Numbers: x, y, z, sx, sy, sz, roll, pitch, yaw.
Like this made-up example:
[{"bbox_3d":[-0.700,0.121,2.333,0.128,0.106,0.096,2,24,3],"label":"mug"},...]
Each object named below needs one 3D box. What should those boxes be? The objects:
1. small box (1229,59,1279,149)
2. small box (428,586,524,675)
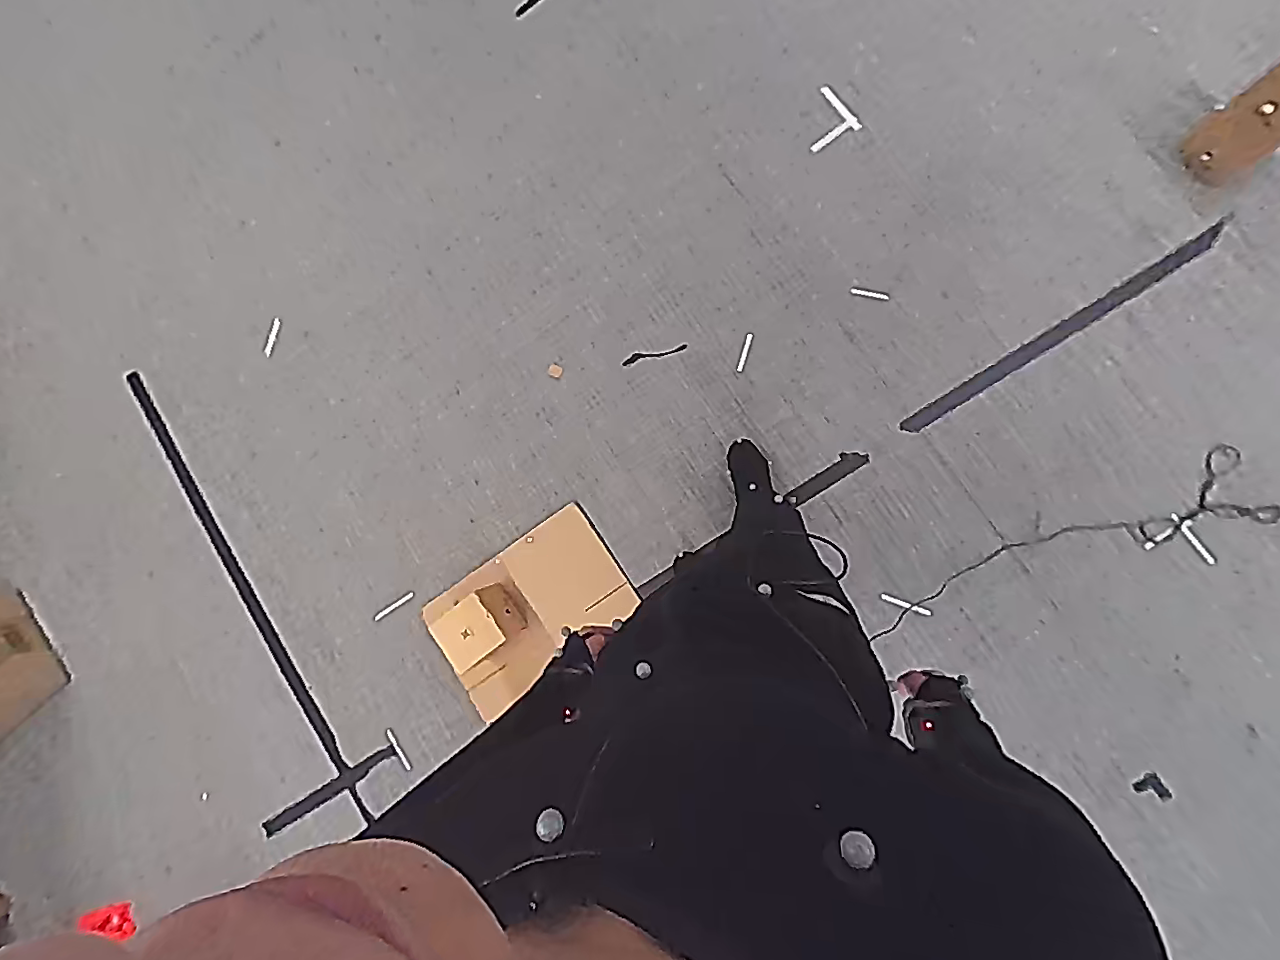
[{"bbox_3d":[1.562,-0.926,1.252,0.179,0.176,0.168,-32,82,5],"label":"small box"},{"bbox_3d":[-0.472,0.434,1.582,0.179,0.176,0.168,-39,83,3],"label":"small box"}]
